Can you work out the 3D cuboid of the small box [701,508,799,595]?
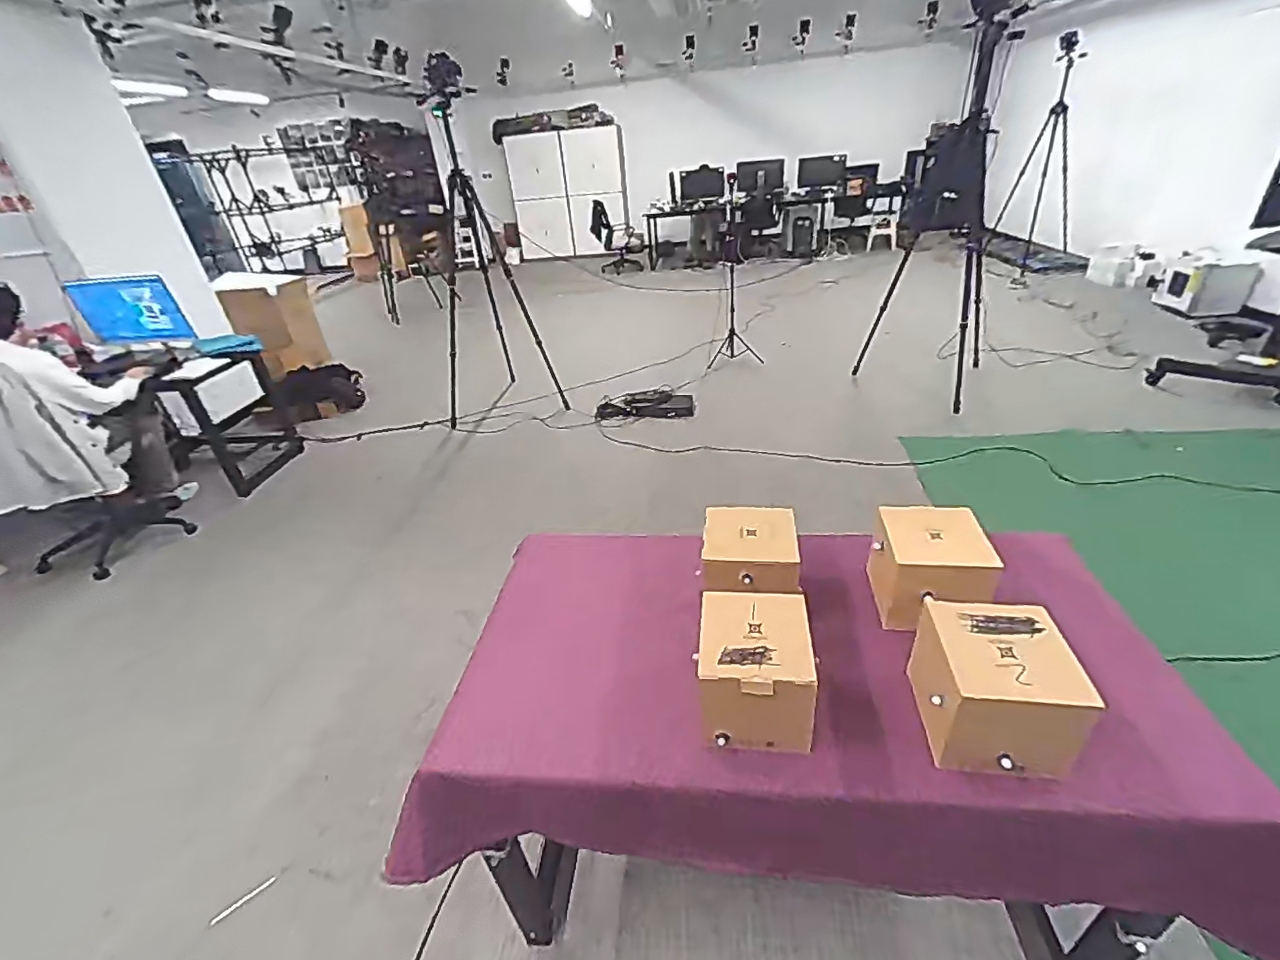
[{"bbox_3d":[0.217,0.172,1.069,0.179,0.176,0.168,1,33,11],"label":"small box"}]

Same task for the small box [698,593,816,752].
[{"bbox_3d":[0.183,0.302,0.858,0.168,0.176,0.179,-1,31,10],"label":"small box"}]

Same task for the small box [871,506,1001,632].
[{"bbox_3d":[0.540,0.165,1.013,0.168,0.176,0.179,0,31,12],"label":"small box"}]
